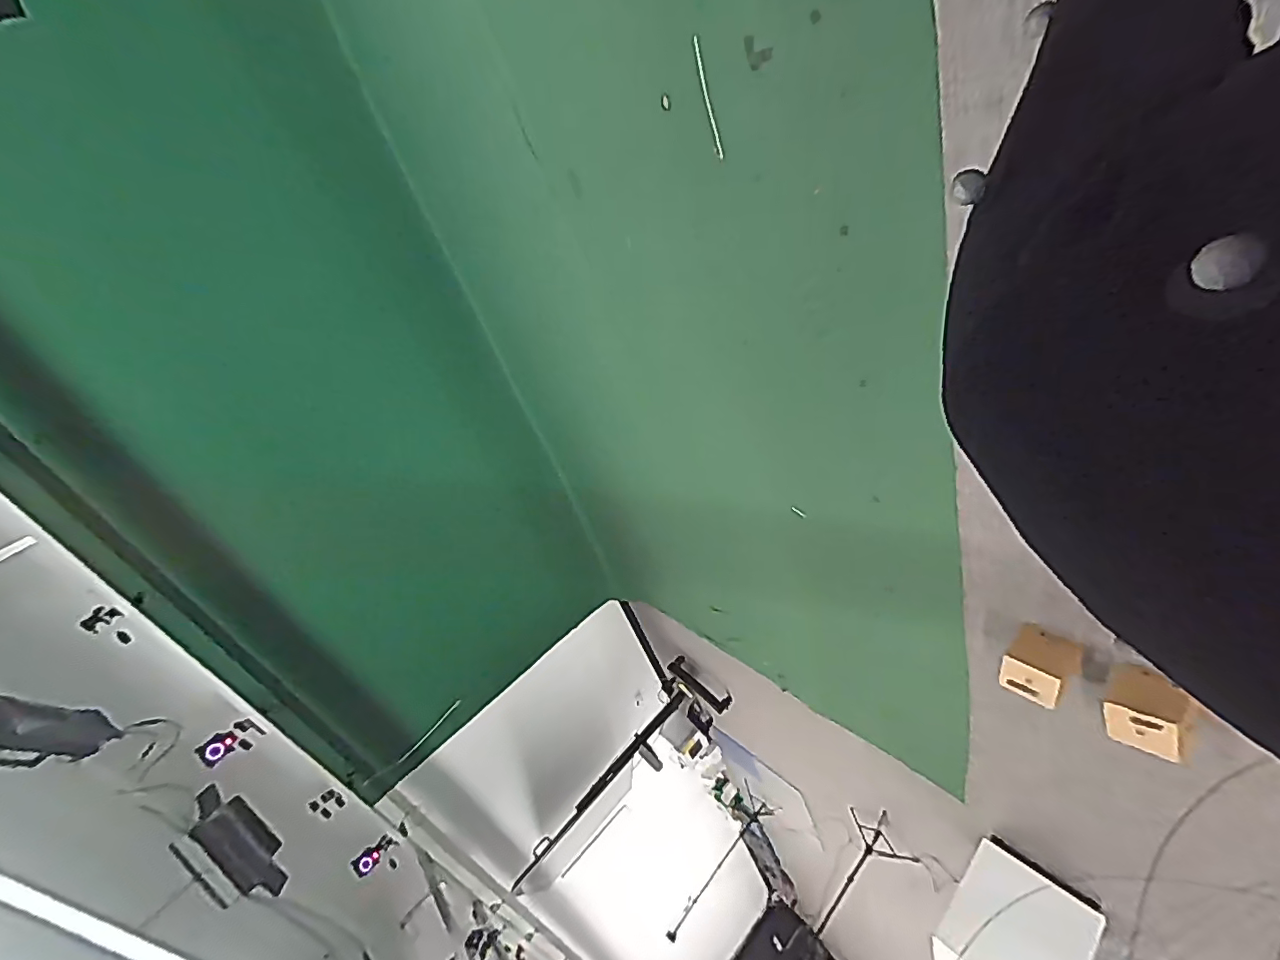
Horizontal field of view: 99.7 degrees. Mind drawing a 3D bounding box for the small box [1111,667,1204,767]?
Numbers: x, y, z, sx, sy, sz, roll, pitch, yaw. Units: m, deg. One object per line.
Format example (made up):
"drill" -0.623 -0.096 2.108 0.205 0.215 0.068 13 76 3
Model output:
"small box" 1.535 0.693 1.604 0.168 0.176 0.179 11 133 56
